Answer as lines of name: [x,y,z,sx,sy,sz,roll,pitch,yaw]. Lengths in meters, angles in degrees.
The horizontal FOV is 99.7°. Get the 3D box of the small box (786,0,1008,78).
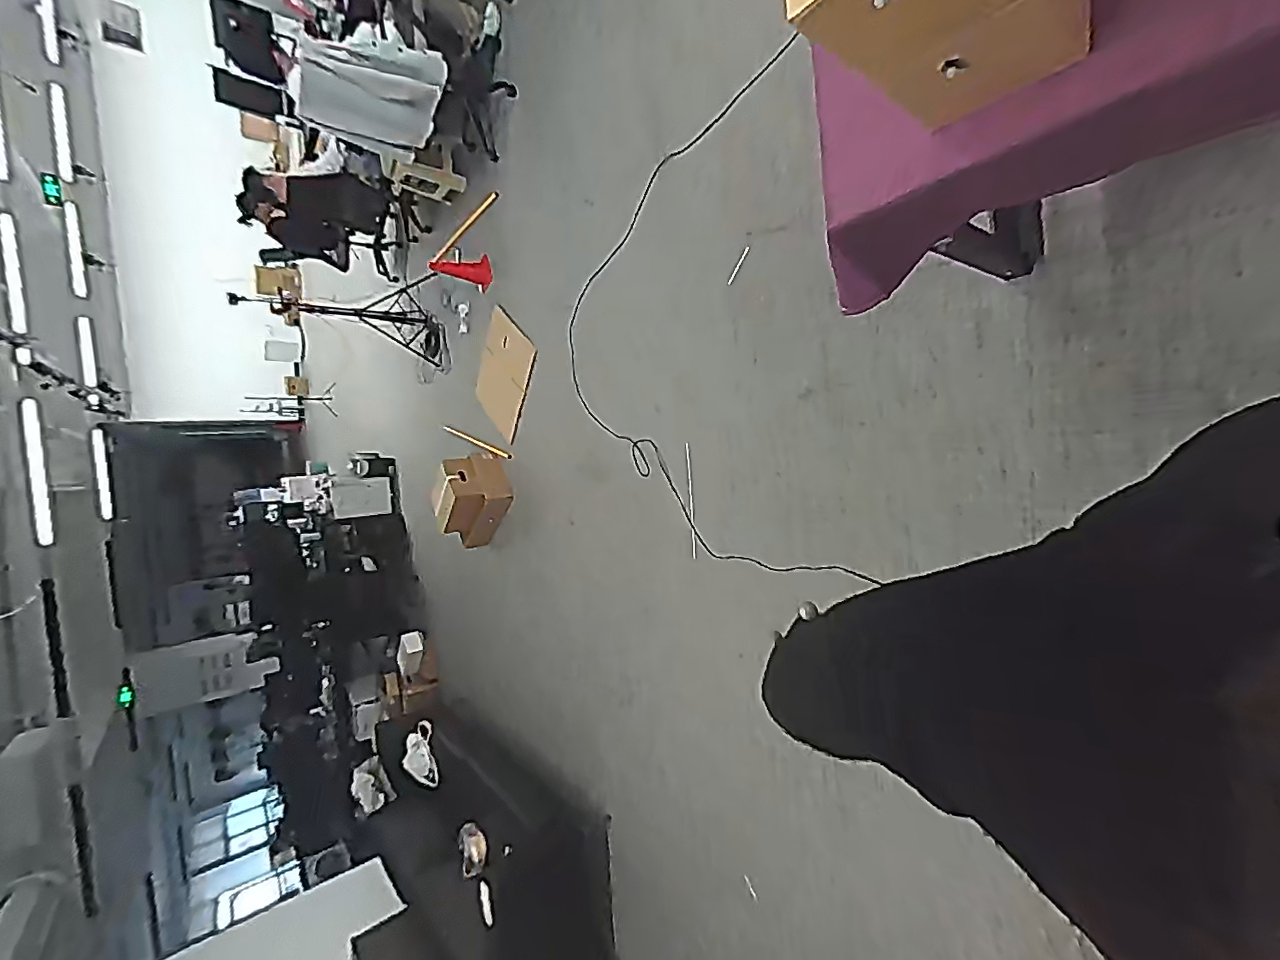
small box: [0.260,-0.542,0.519,0.179,0.176,0.168,1,95,53]

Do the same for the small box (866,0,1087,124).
small box: [0.384,-0.555,0.624,0.179,0.176,0.168,1,96,51]
